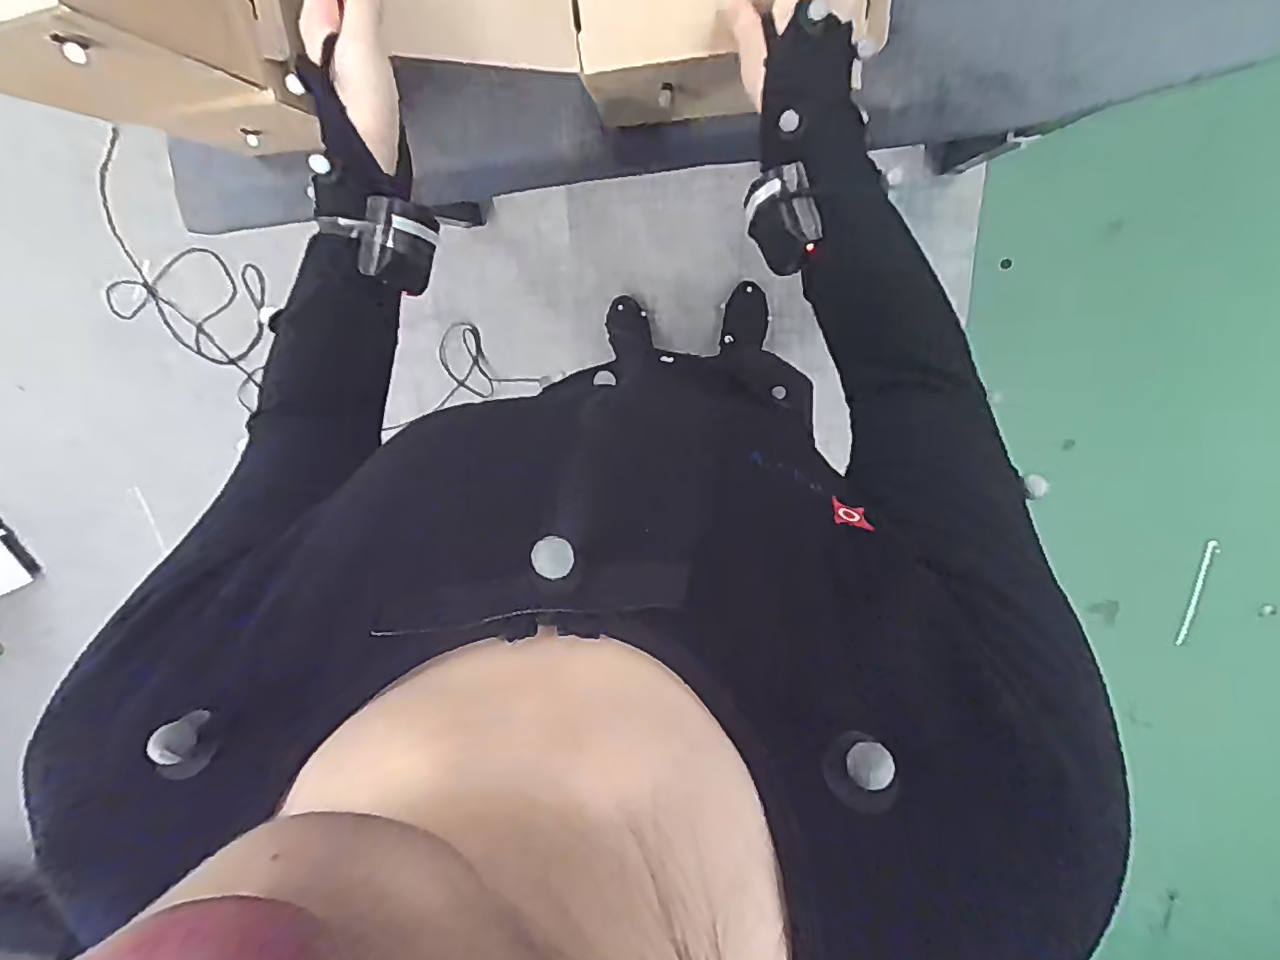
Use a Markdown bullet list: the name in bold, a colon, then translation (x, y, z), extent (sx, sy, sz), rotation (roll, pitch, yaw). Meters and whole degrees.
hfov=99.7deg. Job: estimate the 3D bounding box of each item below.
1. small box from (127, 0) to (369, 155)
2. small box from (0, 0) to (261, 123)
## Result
- **small box**: translation (-0.410, -0.452, 0.560), extent (0.179, 0.176, 0.168), rotation (0, 110, 9)
- **small box**: translation (-0.448, -0.398, 0.411), extent (0.179, 0.176, 0.168), rotation (-5, 110, 10)
